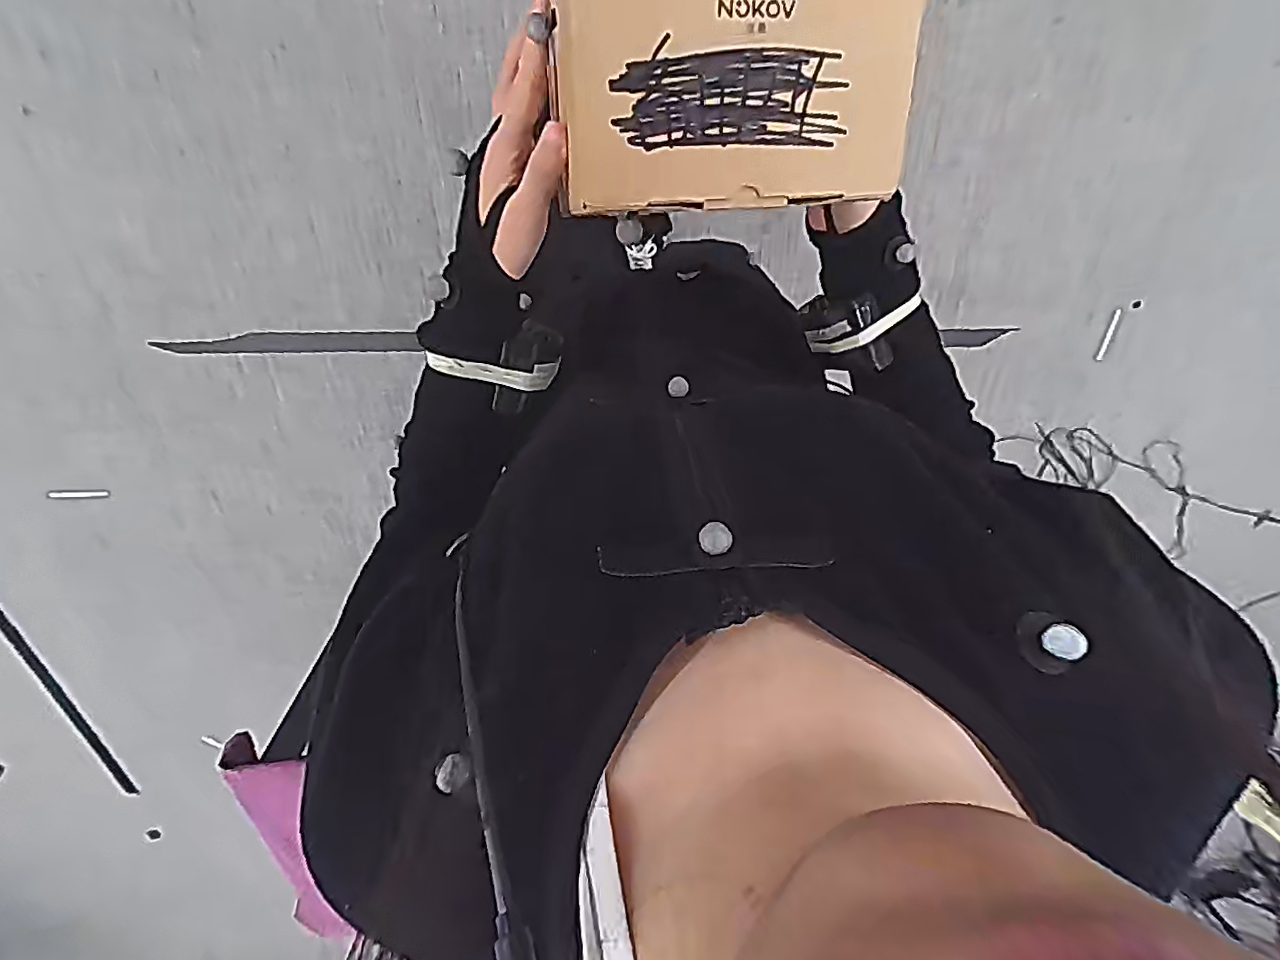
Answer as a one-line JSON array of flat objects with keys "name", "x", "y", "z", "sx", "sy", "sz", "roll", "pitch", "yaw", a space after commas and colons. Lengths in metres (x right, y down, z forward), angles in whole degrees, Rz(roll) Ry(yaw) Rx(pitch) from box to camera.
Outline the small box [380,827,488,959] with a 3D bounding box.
[{"name": "small box", "x": -0.406, "y": 0.840, "z": 1.100, "sx": 0.168, "sy": 0.176, "sz": 0.179, "roll": 2, "pitch": 118, "yaw": -7}]
